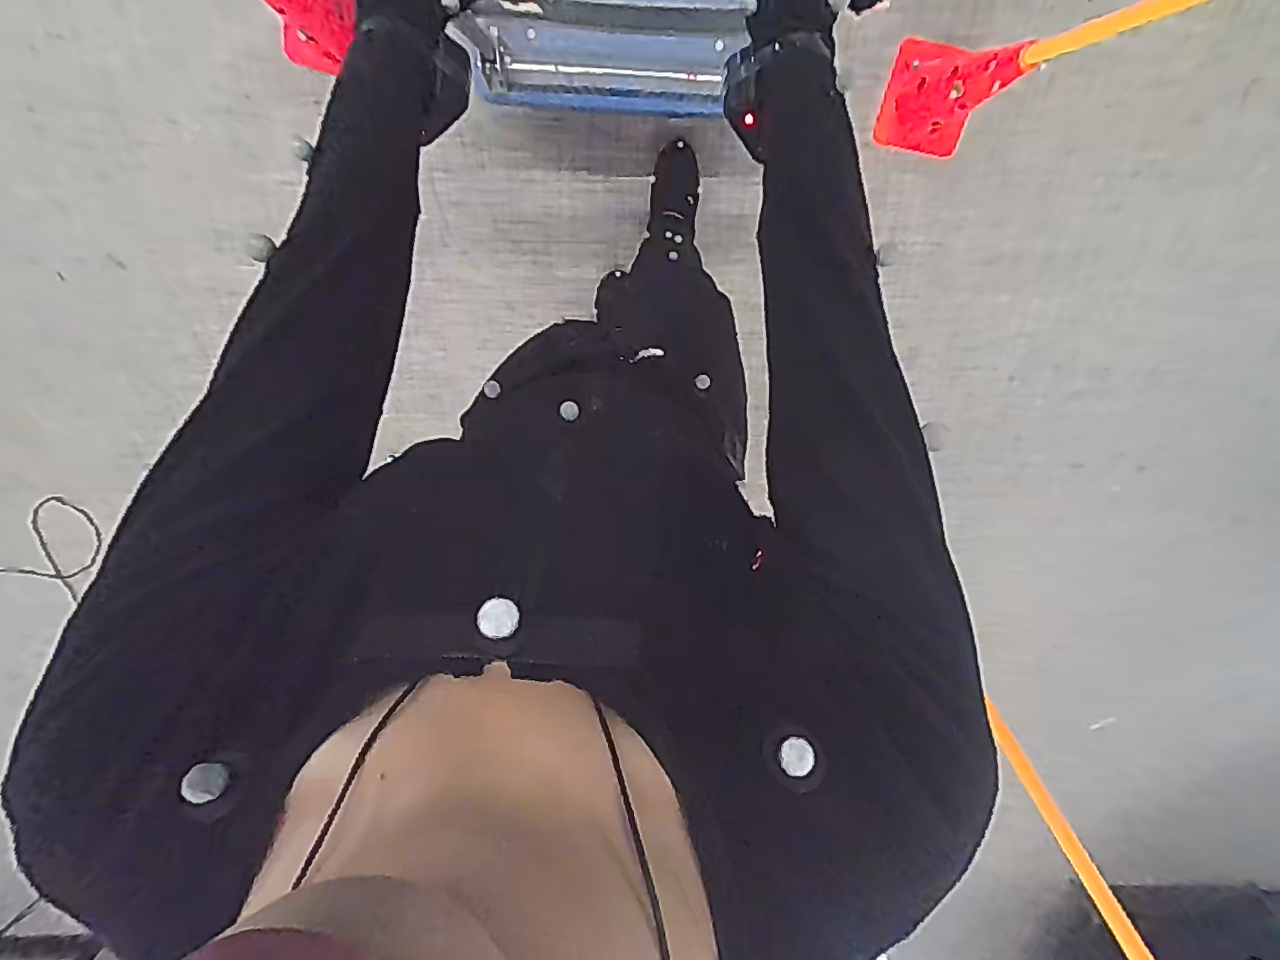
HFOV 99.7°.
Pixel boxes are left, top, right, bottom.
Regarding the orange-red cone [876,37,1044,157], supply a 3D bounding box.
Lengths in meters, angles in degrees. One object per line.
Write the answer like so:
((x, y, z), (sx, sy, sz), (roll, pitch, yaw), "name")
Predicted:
((0.640, -0.767, 1.036), (0.198, 0.360, 0.199), (11, 115, -4), "orange-red cone")
